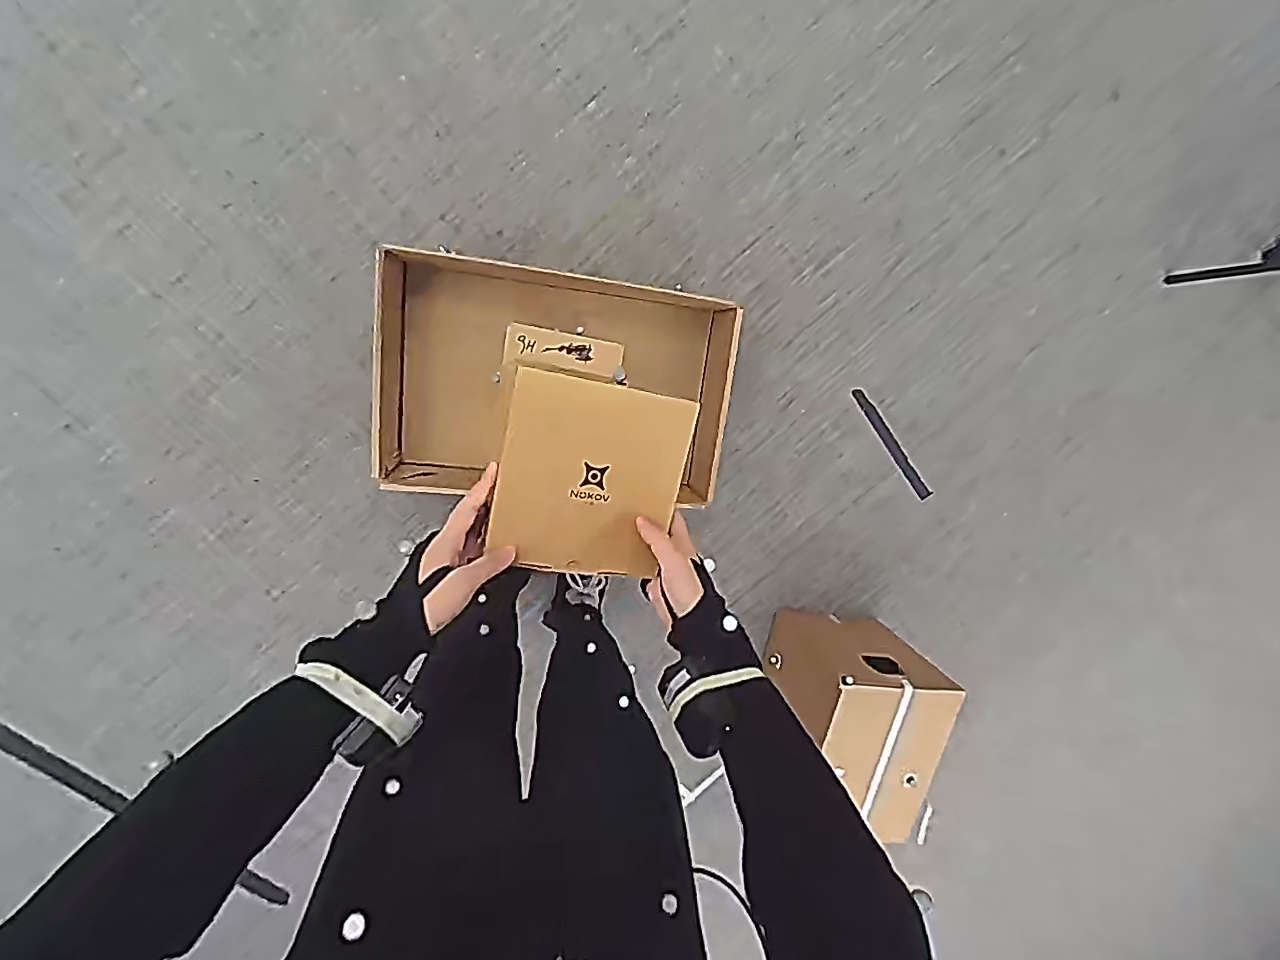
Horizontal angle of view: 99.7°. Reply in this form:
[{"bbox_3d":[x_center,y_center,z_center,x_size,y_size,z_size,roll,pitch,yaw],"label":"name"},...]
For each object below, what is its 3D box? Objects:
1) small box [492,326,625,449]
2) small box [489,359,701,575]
[{"bbox_3d":[-0.131,-0.134,0.840,0.168,0.176,0.179,8,103,-15],"label":"small box"},{"bbox_3d":[-0.060,-0.022,0.557,0.168,0.176,0.179,8,104,-19],"label":"small box"}]
